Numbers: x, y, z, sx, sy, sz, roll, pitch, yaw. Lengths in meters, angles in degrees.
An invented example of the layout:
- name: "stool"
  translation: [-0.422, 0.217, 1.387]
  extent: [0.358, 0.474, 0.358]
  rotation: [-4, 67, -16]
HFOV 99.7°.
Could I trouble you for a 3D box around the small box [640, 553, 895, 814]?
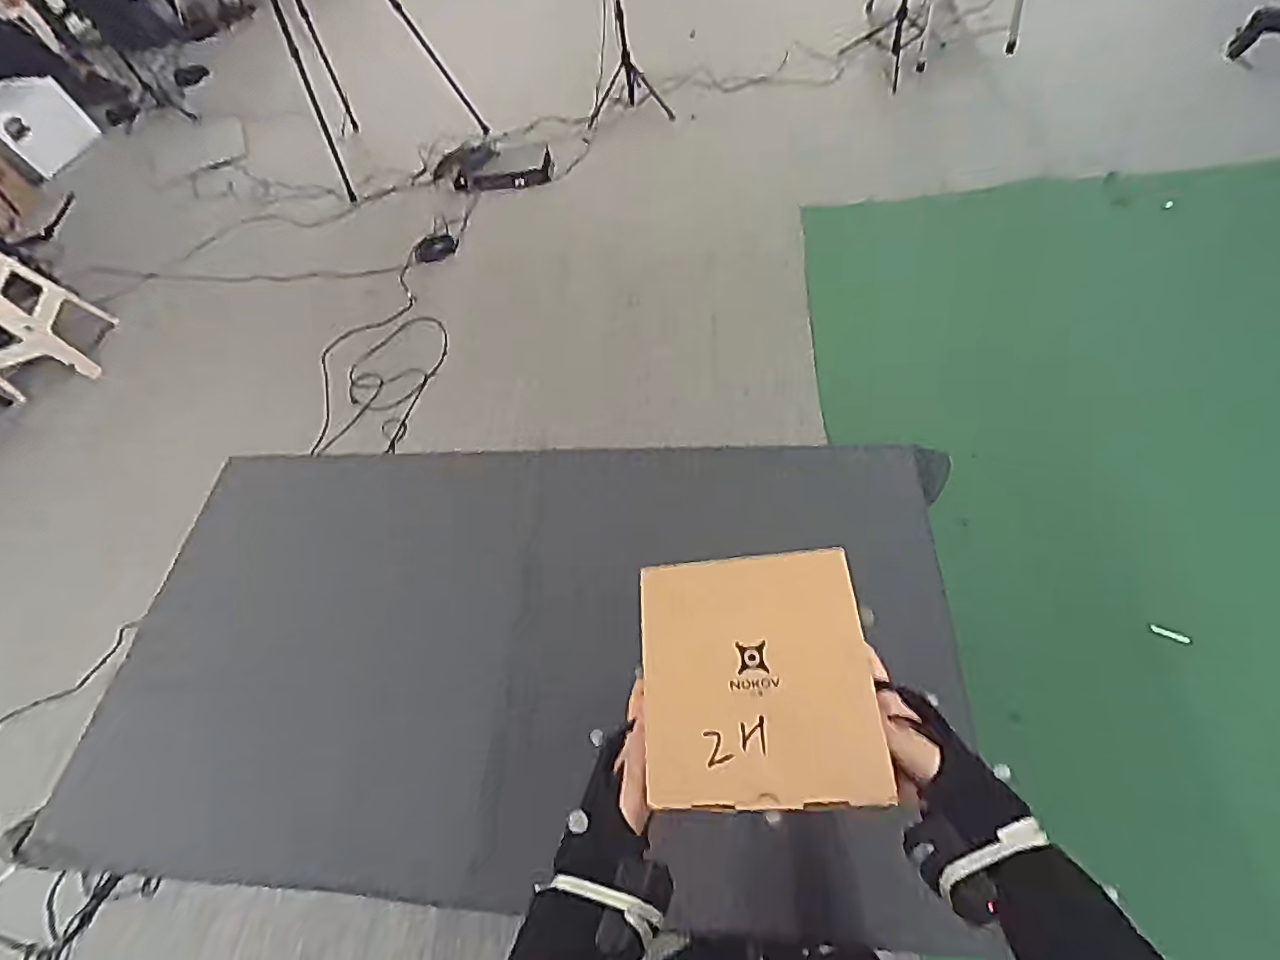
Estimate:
- name: "small box"
  translation: [0.099, 0.180, 0.465]
  extent: [0.168, 0.176, 0.179]
  rotation: [-9, 61, 11]
